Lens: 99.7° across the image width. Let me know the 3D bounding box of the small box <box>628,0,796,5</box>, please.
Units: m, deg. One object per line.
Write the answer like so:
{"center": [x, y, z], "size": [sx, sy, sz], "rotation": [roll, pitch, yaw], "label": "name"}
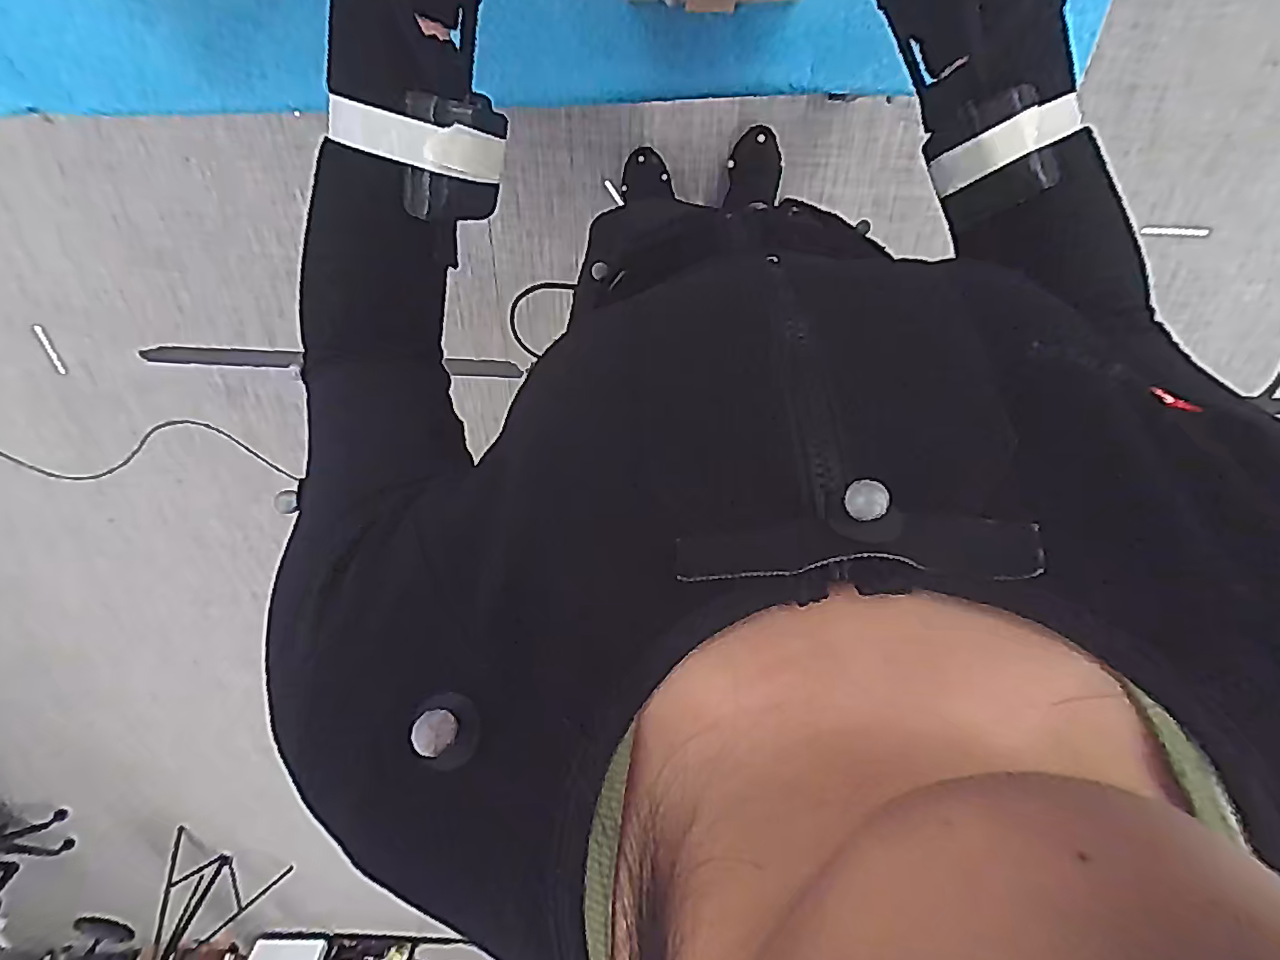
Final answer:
{"center": [0.063, -0.478, 0.391], "size": [0.168, 0.176, 0.179], "rotation": [1, 122, 1], "label": "small box"}
